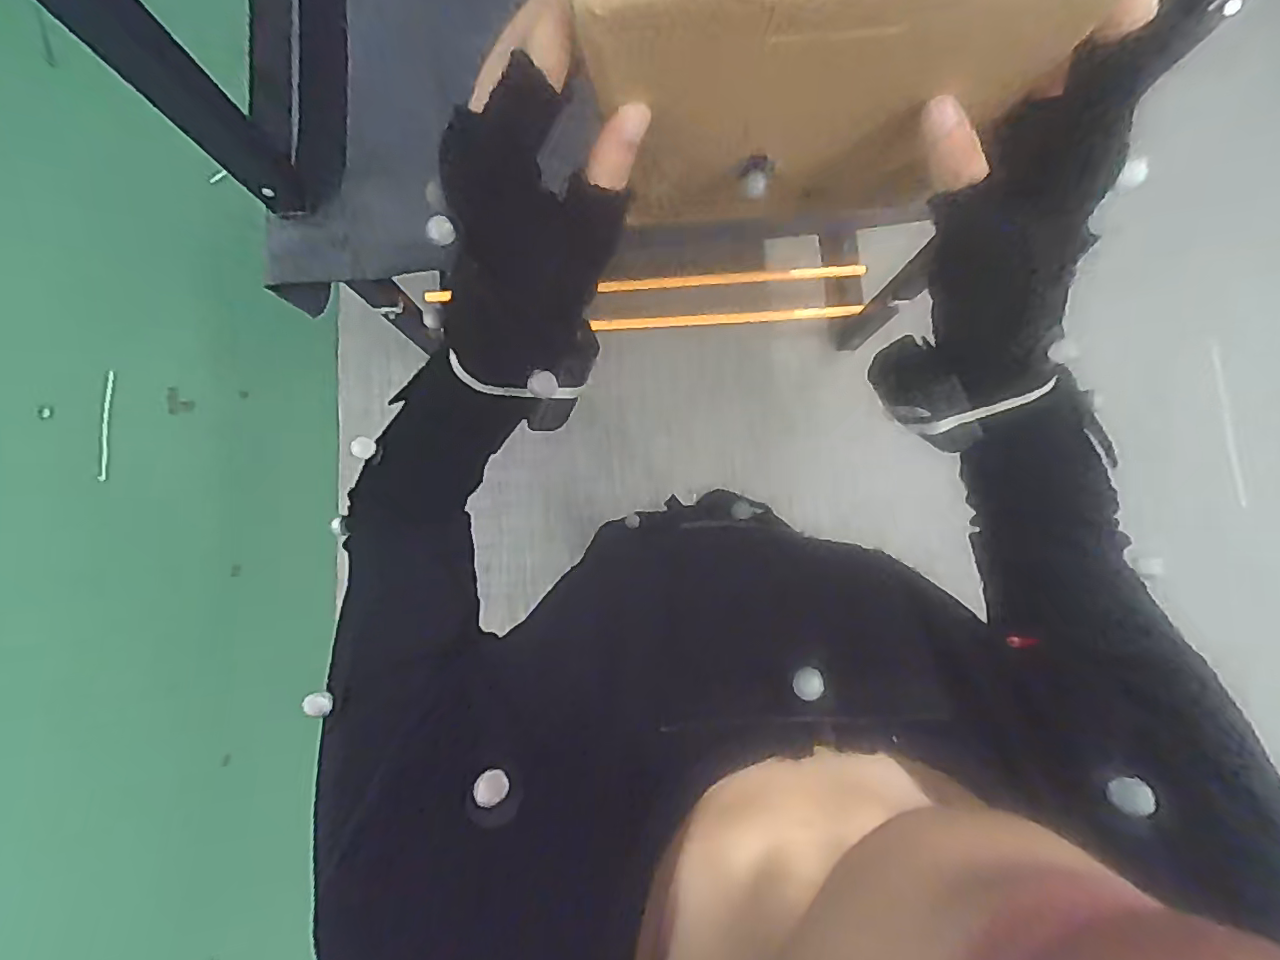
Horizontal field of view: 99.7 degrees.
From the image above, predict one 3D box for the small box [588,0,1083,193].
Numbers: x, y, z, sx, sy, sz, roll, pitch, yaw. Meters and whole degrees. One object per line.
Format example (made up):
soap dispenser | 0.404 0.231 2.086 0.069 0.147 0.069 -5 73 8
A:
small box | 0.063 -0.242 0.214 0.168 0.176 0.179 -1 96 4
